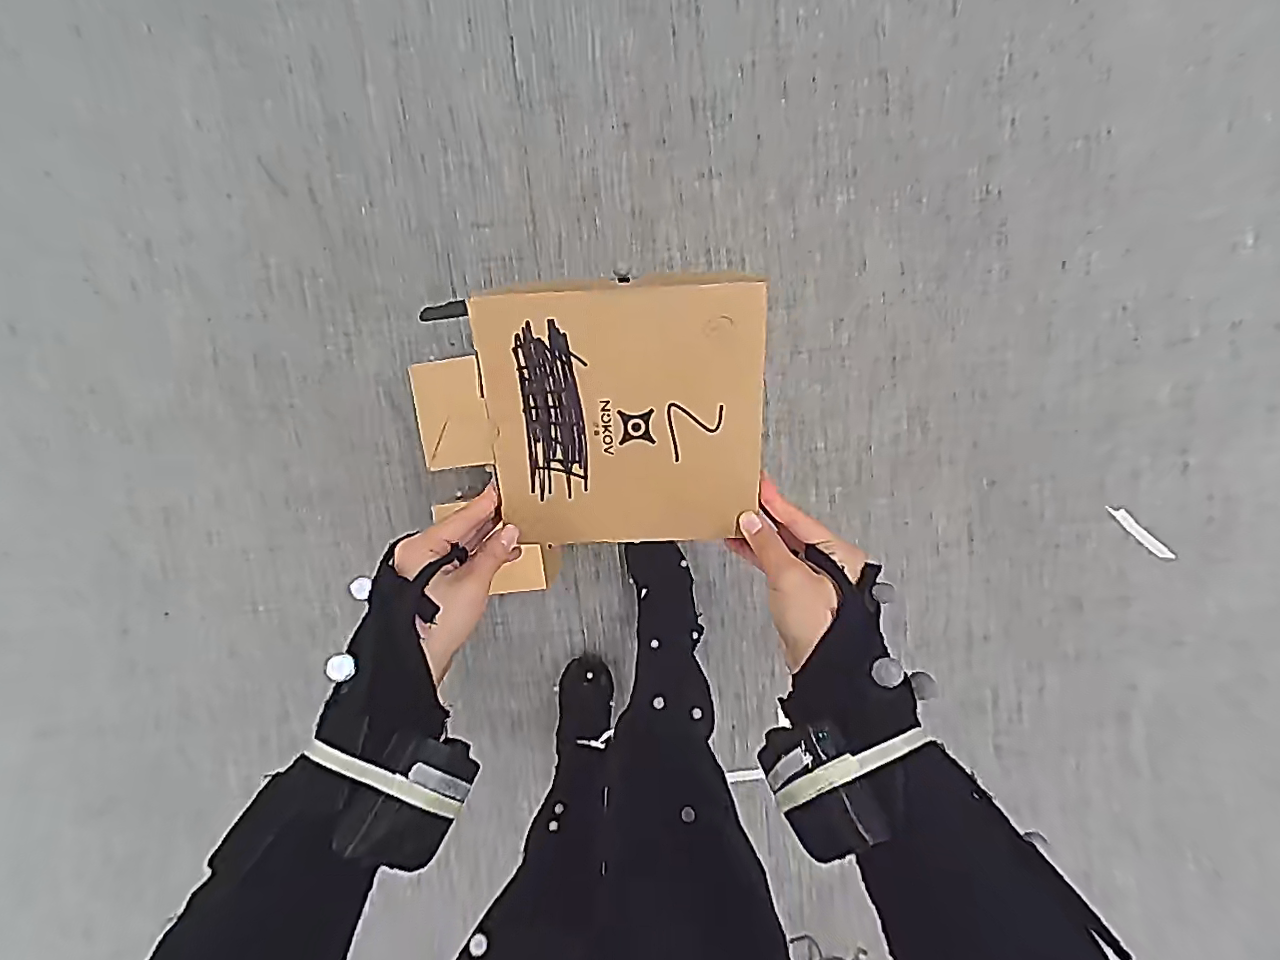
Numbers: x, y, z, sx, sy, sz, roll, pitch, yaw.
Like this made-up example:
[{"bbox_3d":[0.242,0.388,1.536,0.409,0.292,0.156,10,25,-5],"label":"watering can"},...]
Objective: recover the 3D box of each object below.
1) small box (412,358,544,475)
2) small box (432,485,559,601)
[{"bbox_3d":[-0.278,-0.113,0.951,0.168,0.176,0.179,-8,97,3],"label":"small box"},{"bbox_3d":[-0.249,0.107,0.983,0.179,0.176,0.168,-6,97,3],"label":"small box"}]
